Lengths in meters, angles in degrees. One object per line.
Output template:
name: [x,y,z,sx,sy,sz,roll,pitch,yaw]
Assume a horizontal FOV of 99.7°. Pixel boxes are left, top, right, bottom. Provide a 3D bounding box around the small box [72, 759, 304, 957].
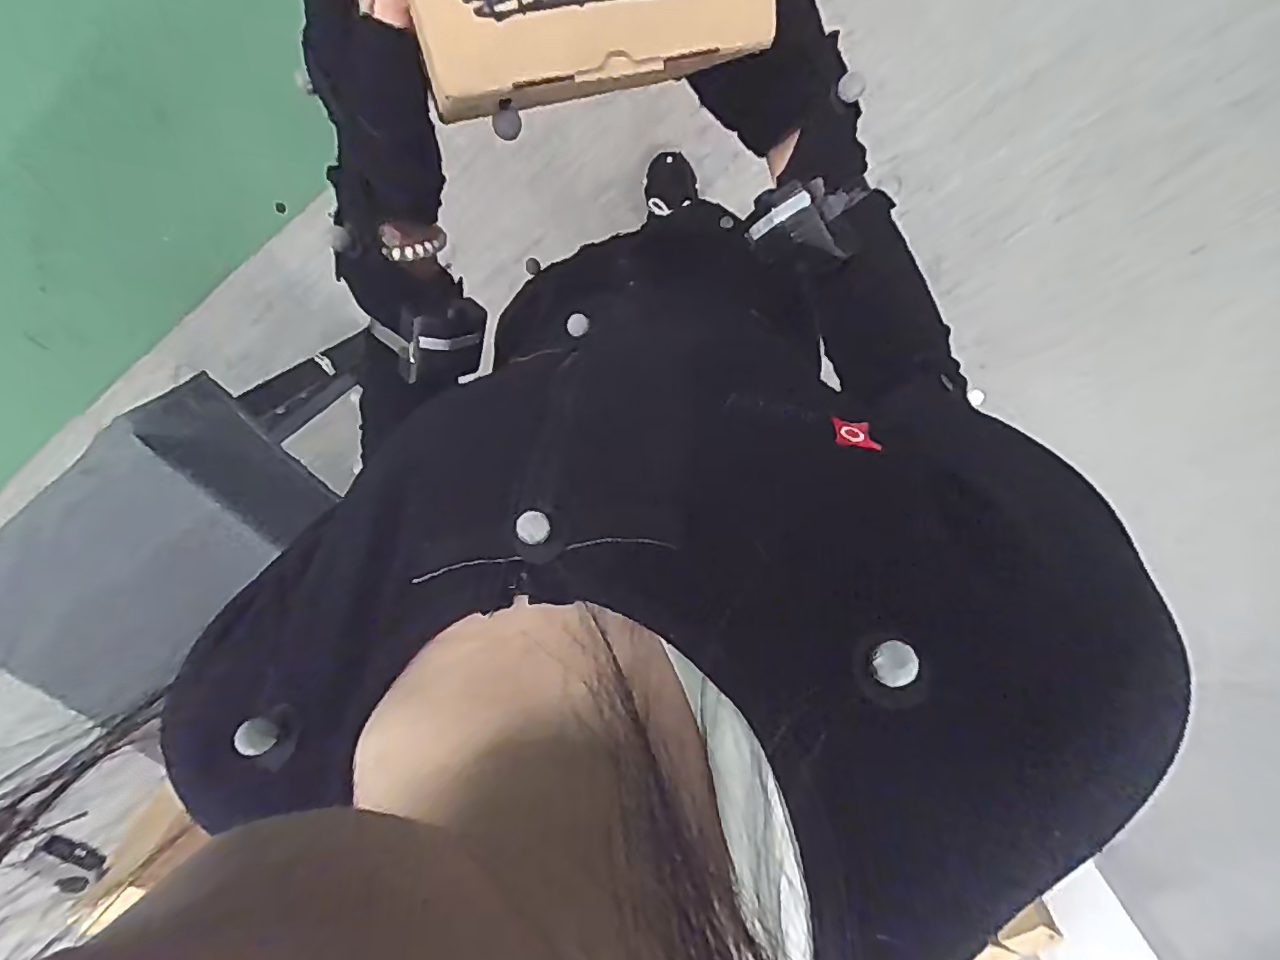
small box: [-0.653,0.558,0.807,0.179,0.176,0.168,-33,114,16]
